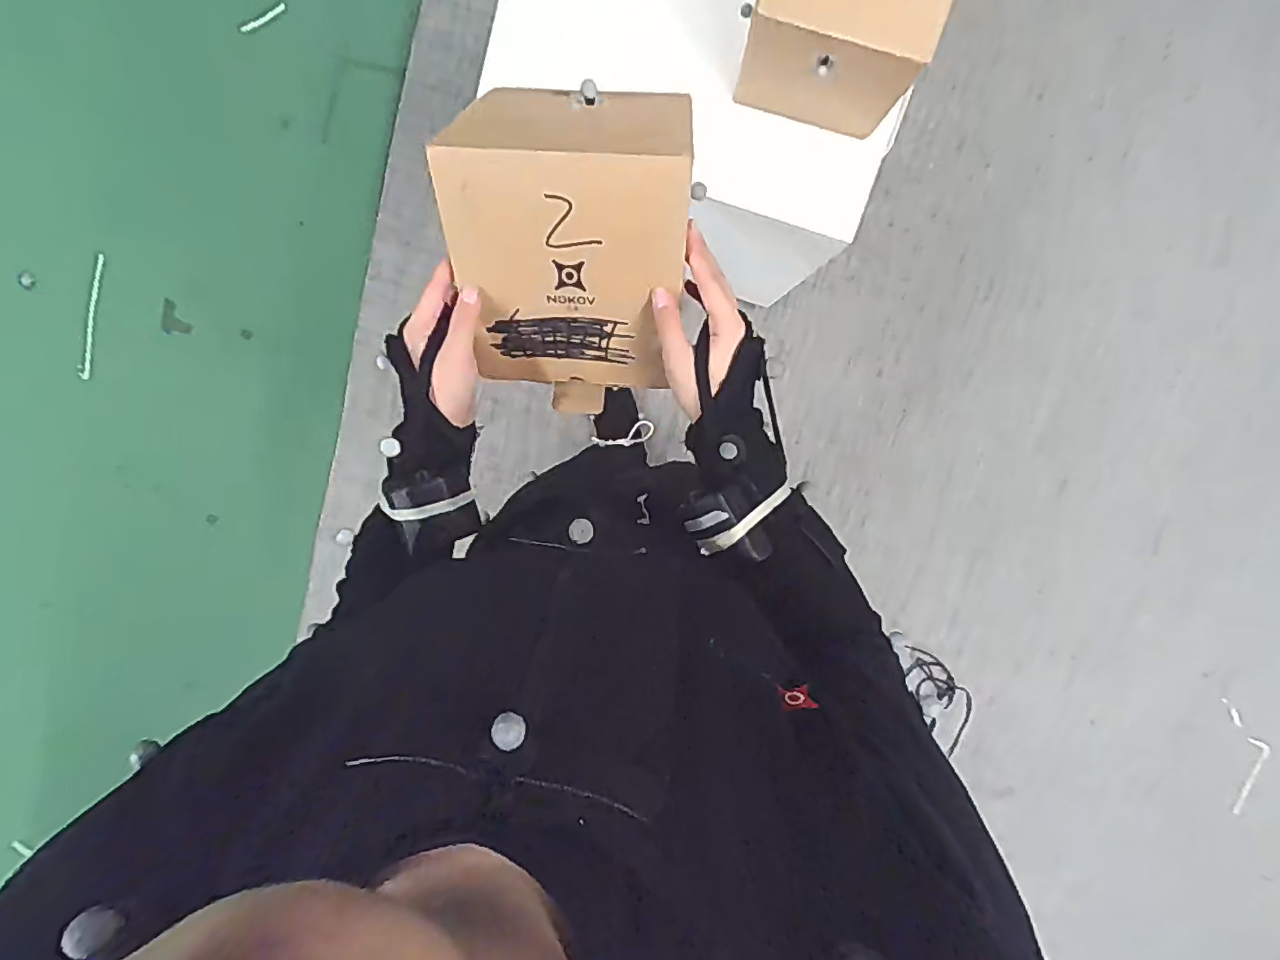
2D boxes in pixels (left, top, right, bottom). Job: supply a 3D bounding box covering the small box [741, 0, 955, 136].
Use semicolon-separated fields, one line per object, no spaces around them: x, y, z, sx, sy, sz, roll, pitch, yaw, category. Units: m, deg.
0.217;-0.500;0.571;0.179;0.176;0.168;16;101;0;small box
